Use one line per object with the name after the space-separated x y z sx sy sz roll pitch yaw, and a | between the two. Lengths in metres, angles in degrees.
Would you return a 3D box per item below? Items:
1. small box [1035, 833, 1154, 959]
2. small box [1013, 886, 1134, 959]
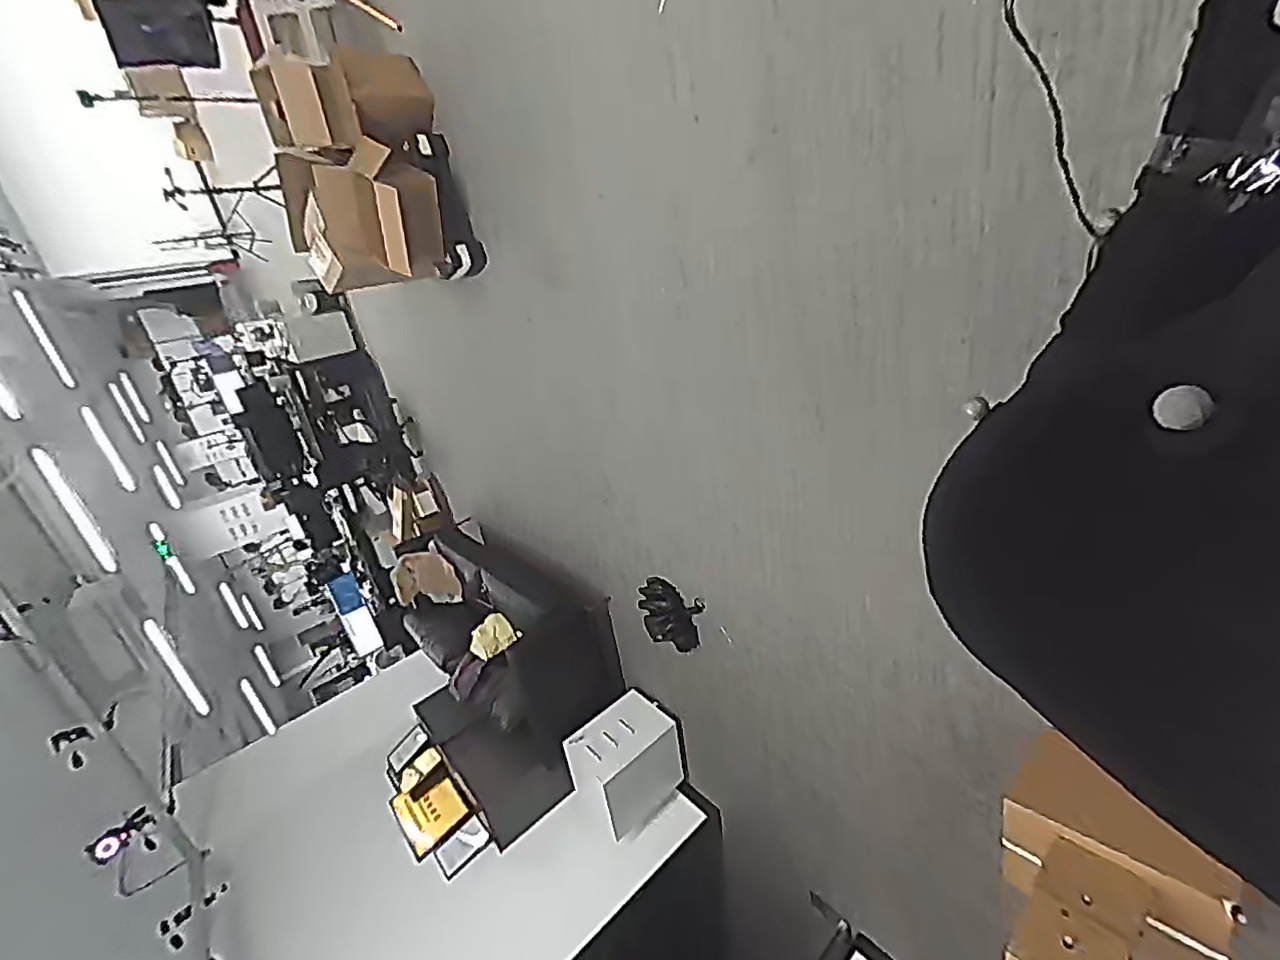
1.013 0.948 1.209 0.179 0.176 0.168 12 120 51 | small box
0.891 1.004 1.115 0.168 0.176 0.179 10 118 50 | small box
